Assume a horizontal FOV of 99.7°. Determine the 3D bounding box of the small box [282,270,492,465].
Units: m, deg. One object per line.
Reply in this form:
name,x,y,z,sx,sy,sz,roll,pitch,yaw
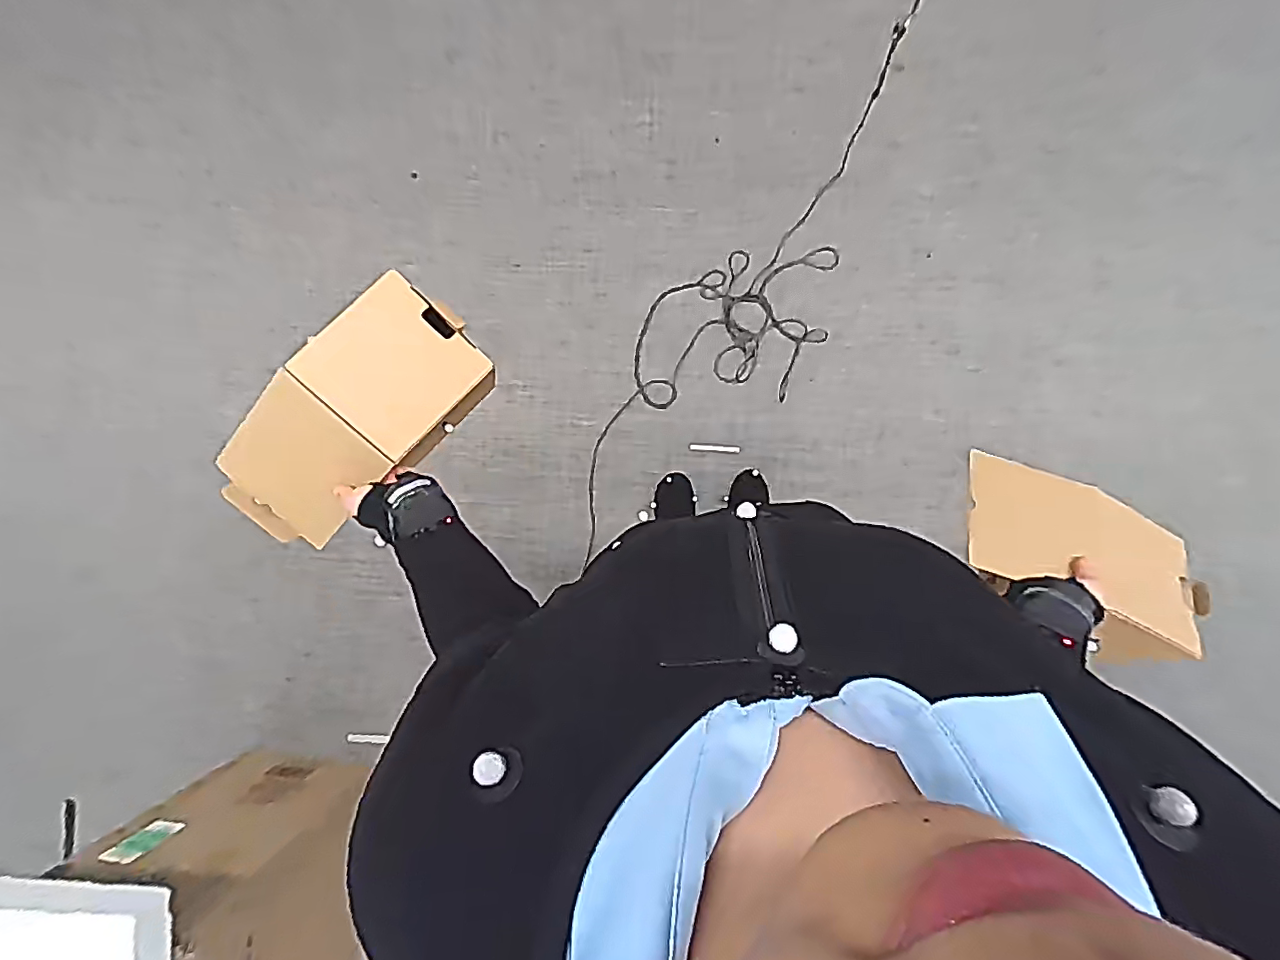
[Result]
small box,-0.314,-0.133,0.716,0.168,0.176,0.179,44,80,-12
